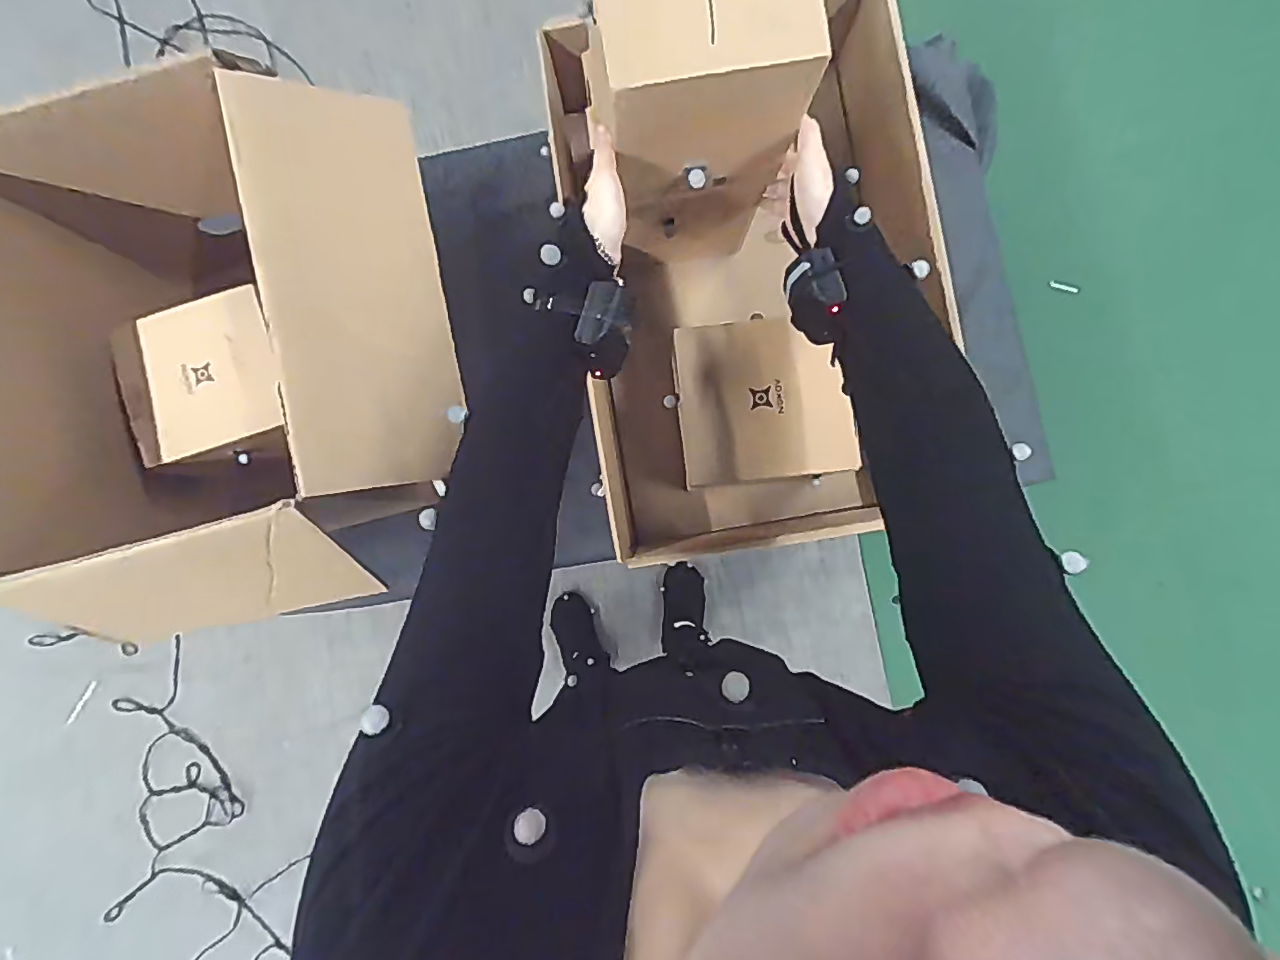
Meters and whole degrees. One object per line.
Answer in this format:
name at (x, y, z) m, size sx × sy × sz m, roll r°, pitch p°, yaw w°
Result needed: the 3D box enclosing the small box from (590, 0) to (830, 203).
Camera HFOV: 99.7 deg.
small box at (0.046, -0.379, 0.475) m, size 0.168 × 0.176 × 0.179 m, roll -9°, pitch 91°, yaw 0°
